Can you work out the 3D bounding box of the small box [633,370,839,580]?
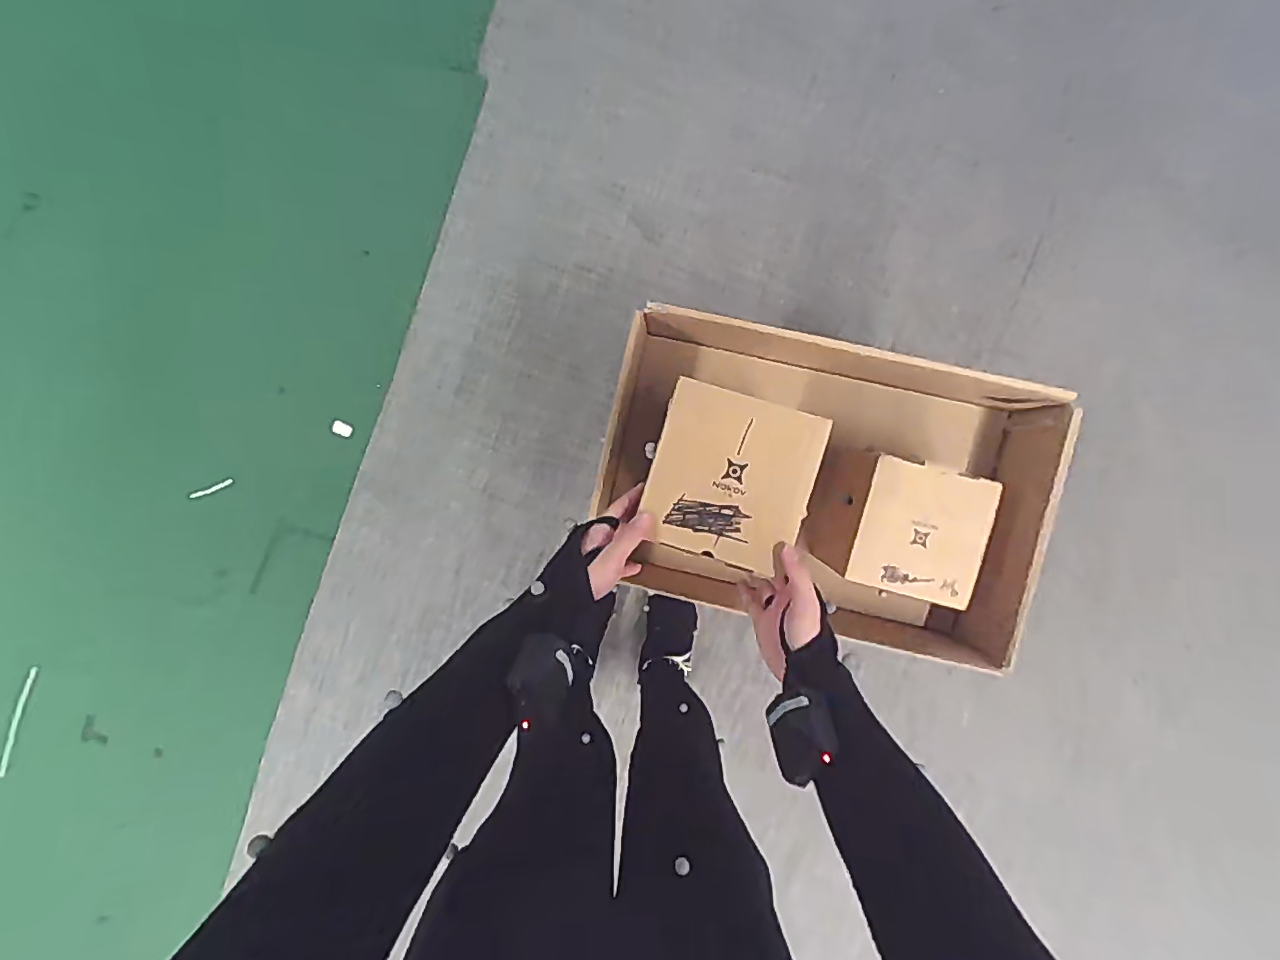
[{"bbox_3d":[0.101,-0.008,0.625,0.168,0.176,0.179,18,92,2],"label":"small box"}]
